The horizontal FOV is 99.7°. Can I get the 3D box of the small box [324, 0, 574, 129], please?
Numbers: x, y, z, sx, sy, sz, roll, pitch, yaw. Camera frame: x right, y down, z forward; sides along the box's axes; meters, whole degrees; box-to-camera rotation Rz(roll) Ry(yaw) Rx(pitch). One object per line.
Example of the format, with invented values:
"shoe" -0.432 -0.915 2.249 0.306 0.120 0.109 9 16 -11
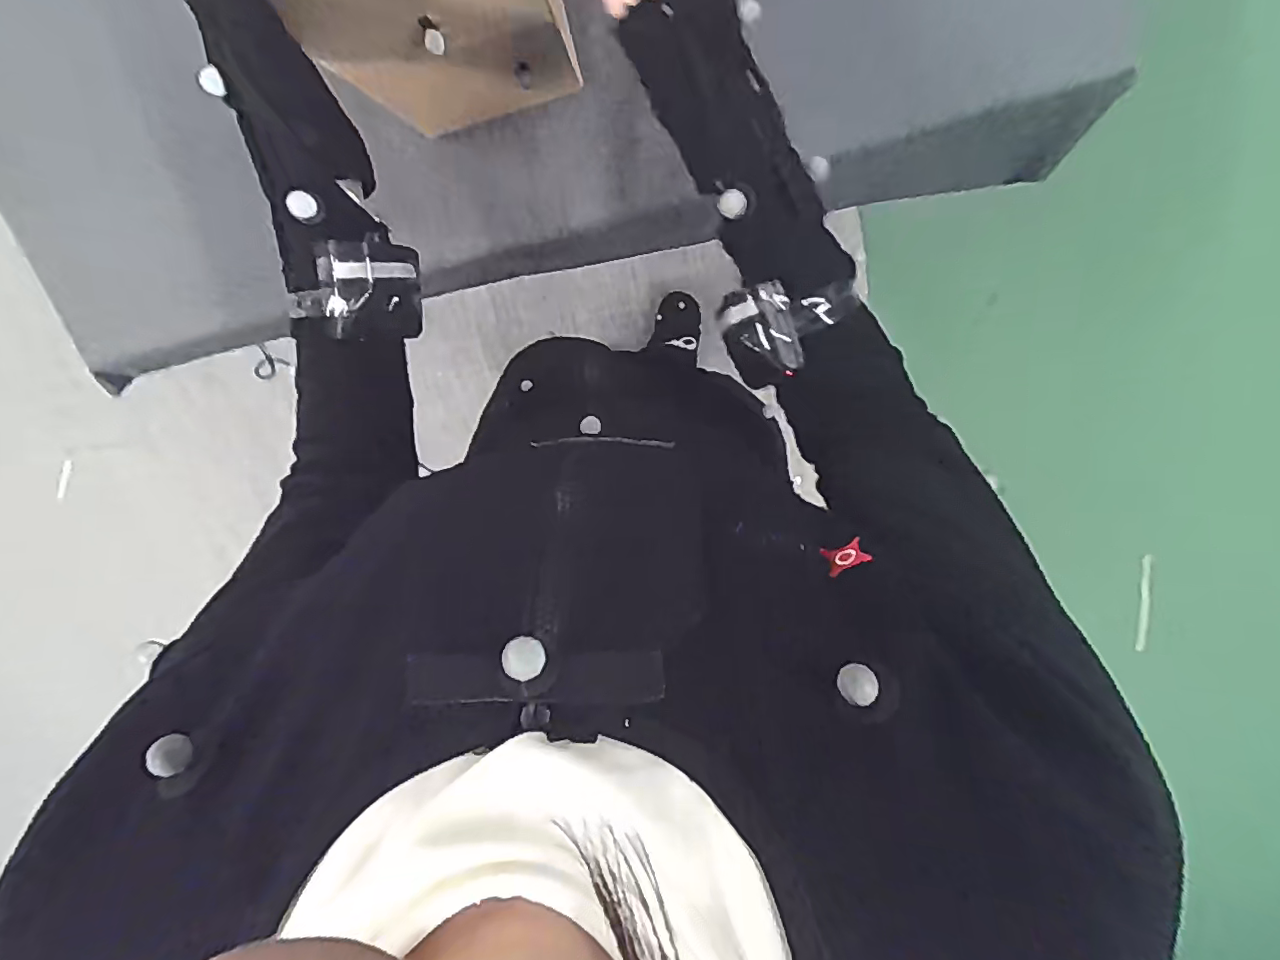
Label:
"small box" -0.165 -0.444 0.474 0.179 0.176 0.168 -14 106 8
